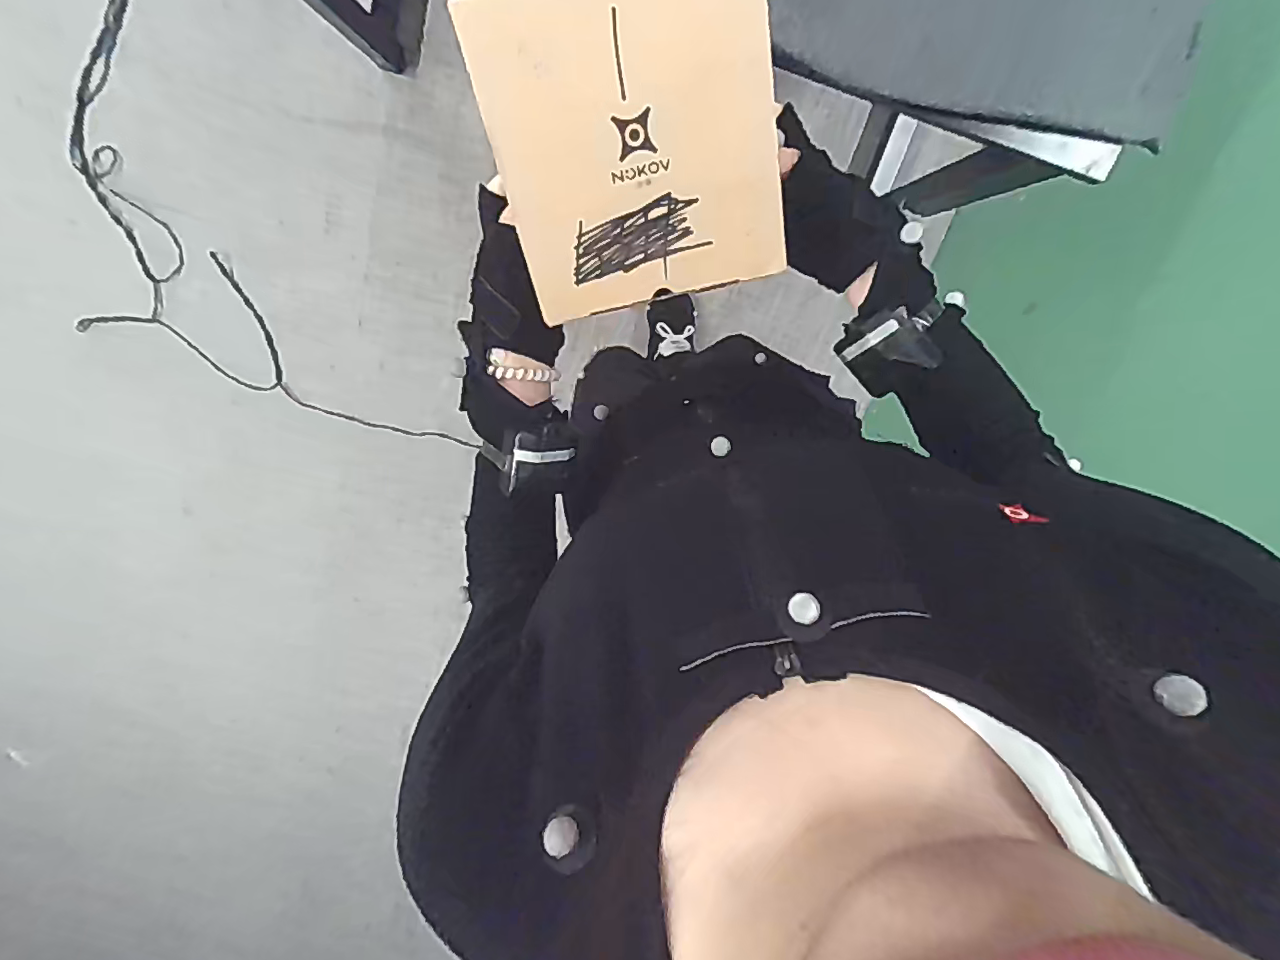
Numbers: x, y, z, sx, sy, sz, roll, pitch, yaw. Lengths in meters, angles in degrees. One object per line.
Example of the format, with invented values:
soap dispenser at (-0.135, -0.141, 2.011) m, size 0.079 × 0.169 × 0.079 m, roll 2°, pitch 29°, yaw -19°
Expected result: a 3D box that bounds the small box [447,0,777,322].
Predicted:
small box at (-0.005, -0.235, 0.386) m, size 0.168 × 0.176 × 0.179 m, roll -11°, pitch 120°, yaw 6°
